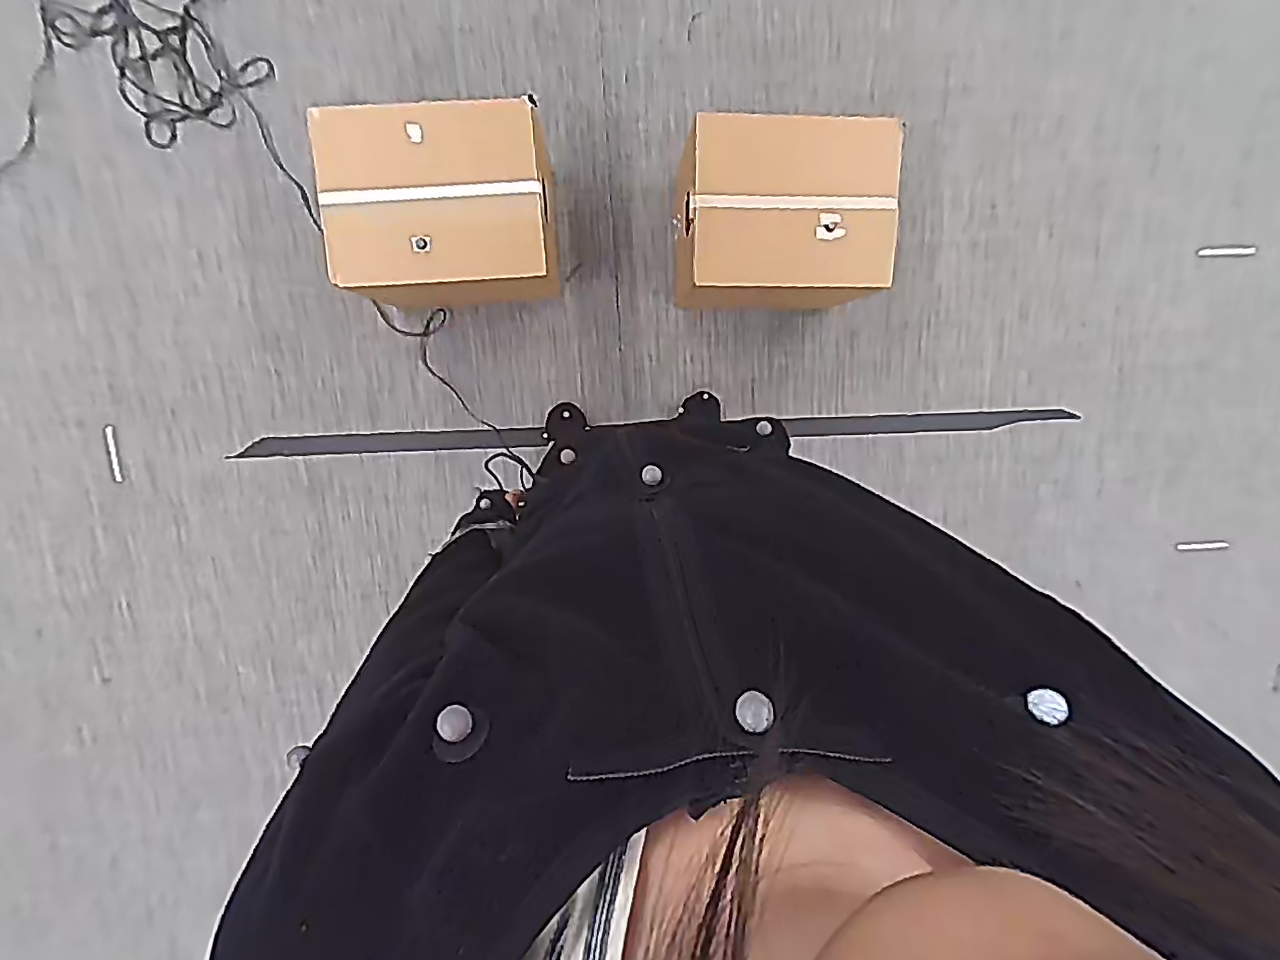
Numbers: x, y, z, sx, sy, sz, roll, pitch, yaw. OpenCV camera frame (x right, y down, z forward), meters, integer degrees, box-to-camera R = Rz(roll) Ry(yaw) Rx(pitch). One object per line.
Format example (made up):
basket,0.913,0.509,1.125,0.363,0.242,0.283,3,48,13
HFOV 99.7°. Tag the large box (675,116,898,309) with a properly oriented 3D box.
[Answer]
large box,0.295,-0.566,1.206,0.408,0.320,0.320,-1,100,-4
